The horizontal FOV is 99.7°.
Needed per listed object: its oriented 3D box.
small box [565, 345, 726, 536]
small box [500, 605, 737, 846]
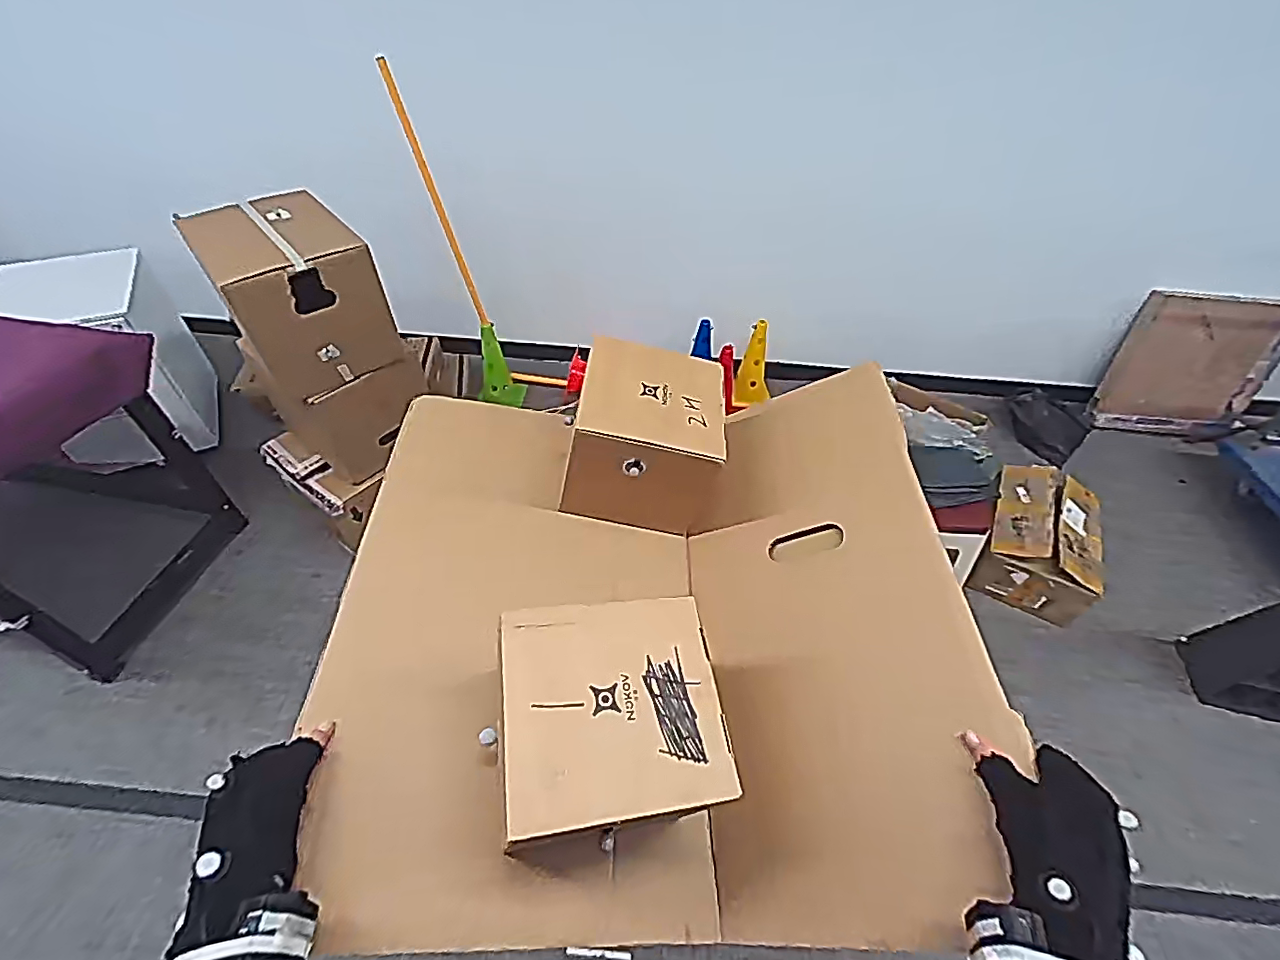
[{"bbox_3d":[0.004,-0.045,0.717,0.179,0.176,0.168,13,52,-8],"label":"small box"},{"bbox_3d":[-0.036,0.227,0.501,0.179,0.176,0.168,0,54,-16],"label":"small box"}]
